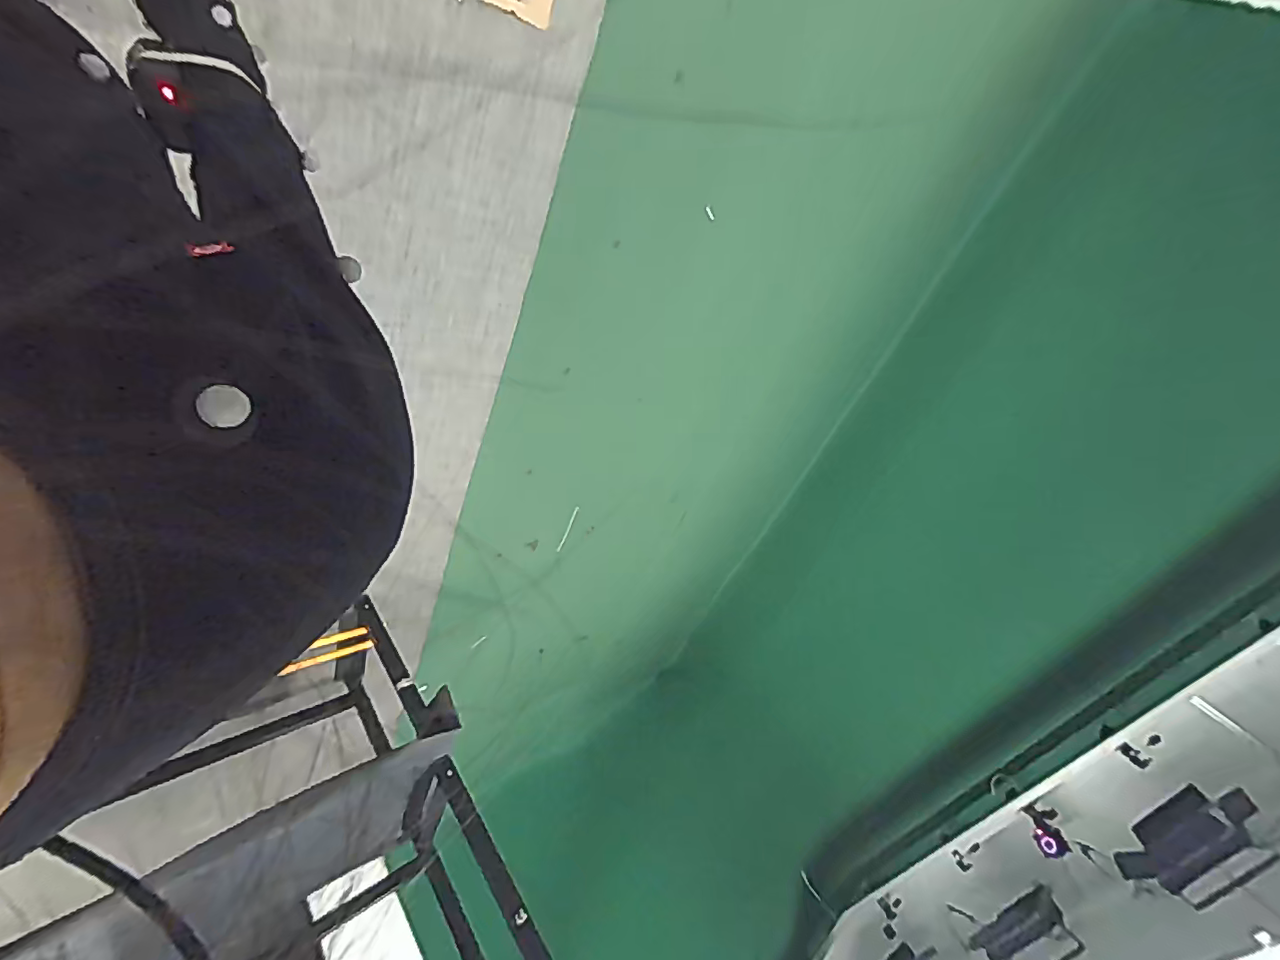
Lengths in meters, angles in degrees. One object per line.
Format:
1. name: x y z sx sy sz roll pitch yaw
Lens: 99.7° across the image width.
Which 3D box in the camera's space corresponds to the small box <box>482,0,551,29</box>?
1. small box: -0.279 -1.068 1.092 0.168 0.176 0.179 -12 137 -44
